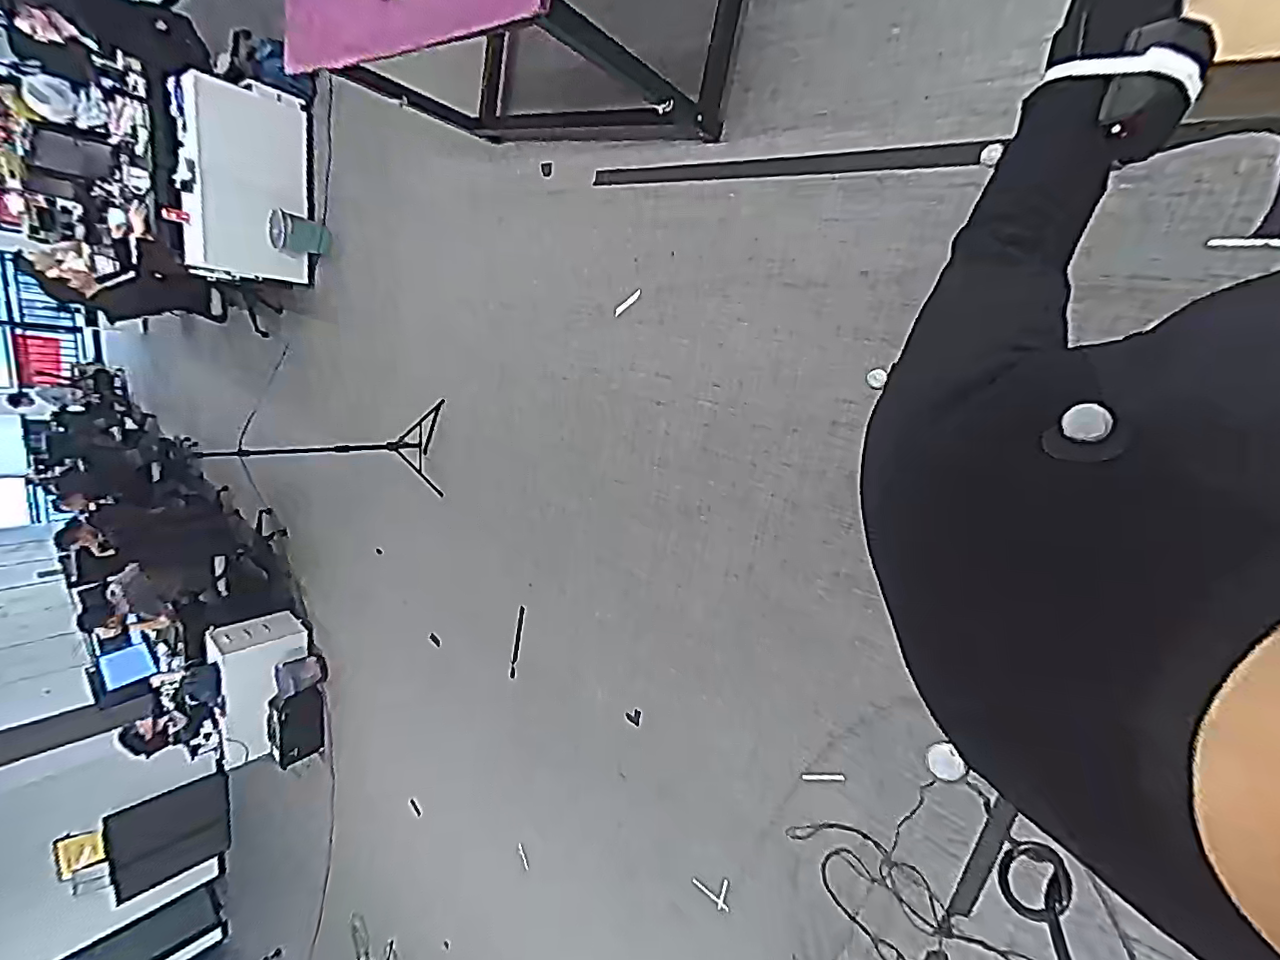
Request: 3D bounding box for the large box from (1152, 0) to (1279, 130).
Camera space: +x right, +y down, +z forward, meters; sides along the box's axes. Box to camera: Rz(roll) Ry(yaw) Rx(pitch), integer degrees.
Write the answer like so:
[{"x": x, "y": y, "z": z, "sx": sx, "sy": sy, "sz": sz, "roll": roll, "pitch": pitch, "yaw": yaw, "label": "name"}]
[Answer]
[{"x": 0.622, "y": -0.419, "z": 0.318, "sx": 0.408, "sy": 0.320, "sz": 0.320, "roll": 21, "pitch": 124, "yaw": 35, "label": "large box"}]
